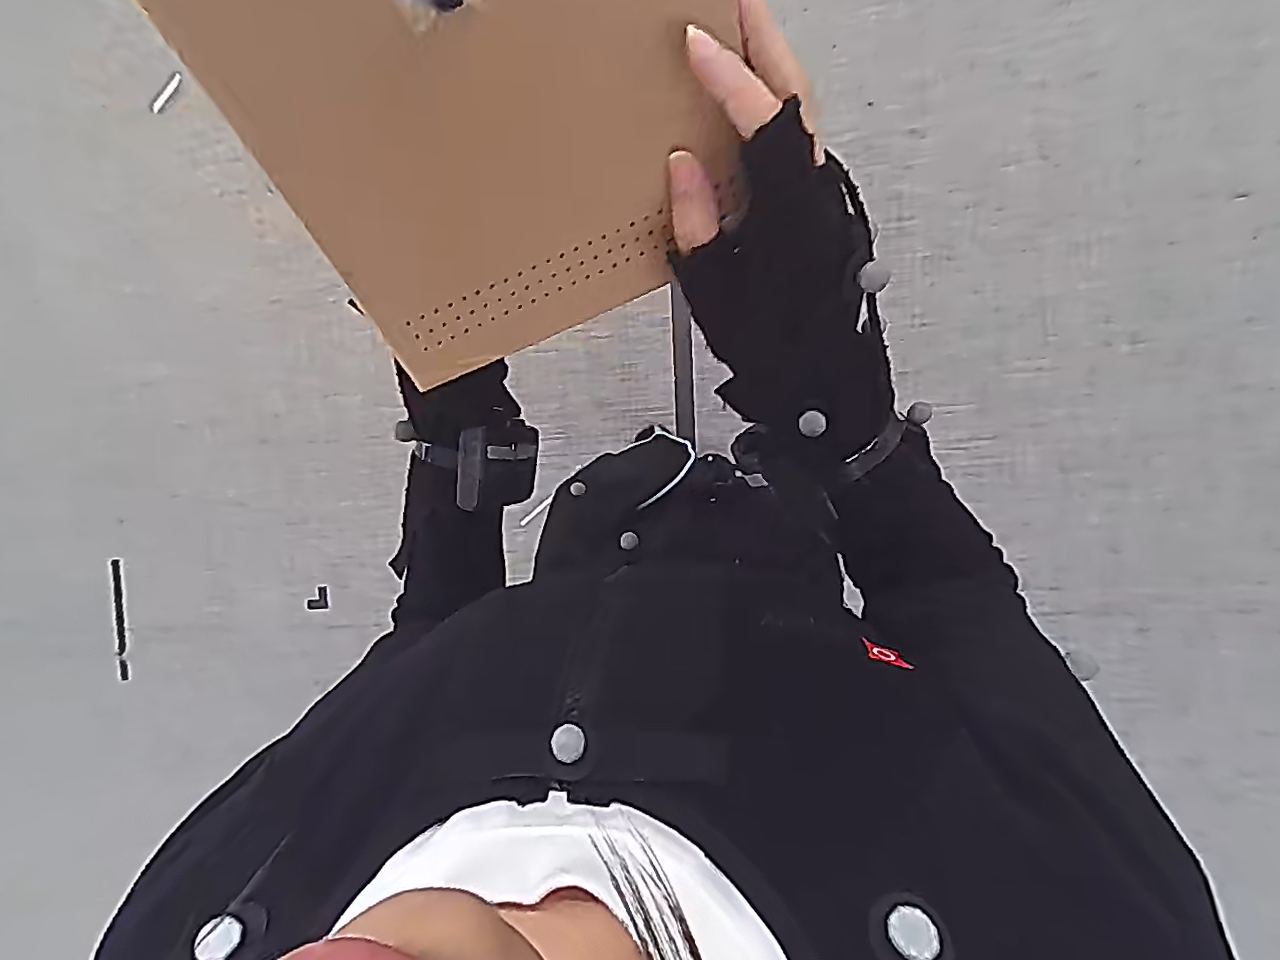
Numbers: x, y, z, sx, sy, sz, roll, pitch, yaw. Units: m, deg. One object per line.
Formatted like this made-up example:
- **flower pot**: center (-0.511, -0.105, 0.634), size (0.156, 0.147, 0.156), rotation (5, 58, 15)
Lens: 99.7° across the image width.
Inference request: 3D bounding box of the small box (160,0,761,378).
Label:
- **small box**: center (-0.063, -0.176, 0.253), size (0.179, 0.168, 0.176), rotation (-24, 135, -1)
